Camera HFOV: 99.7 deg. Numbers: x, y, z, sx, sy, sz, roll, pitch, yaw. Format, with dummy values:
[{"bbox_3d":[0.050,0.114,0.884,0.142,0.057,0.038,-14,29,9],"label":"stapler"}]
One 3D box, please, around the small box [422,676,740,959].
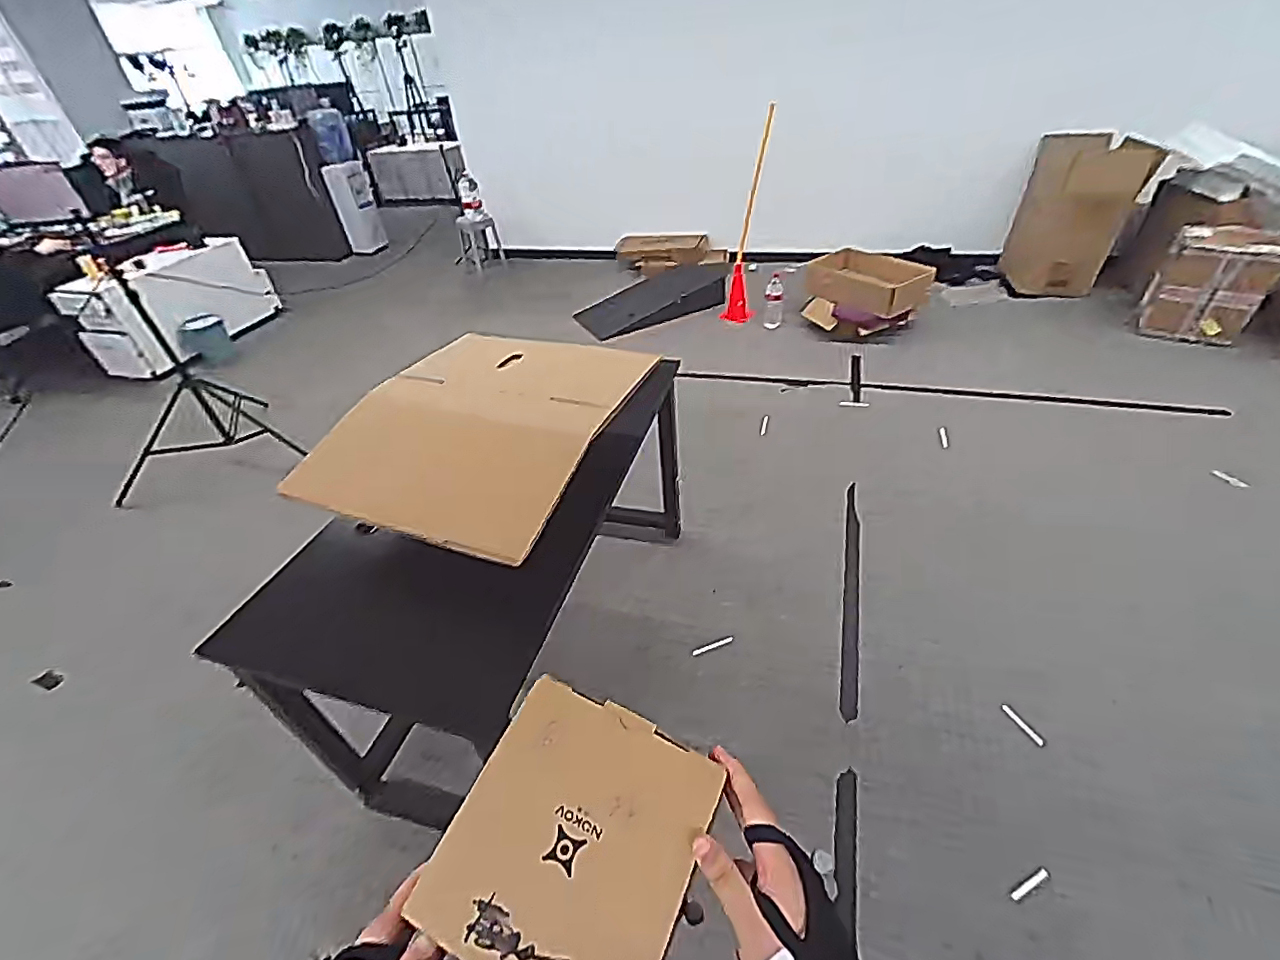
[{"bbox_3d":[-0.032,0.299,0.438,0.168,0.176,0.179,19,54,20],"label":"small box"}]
